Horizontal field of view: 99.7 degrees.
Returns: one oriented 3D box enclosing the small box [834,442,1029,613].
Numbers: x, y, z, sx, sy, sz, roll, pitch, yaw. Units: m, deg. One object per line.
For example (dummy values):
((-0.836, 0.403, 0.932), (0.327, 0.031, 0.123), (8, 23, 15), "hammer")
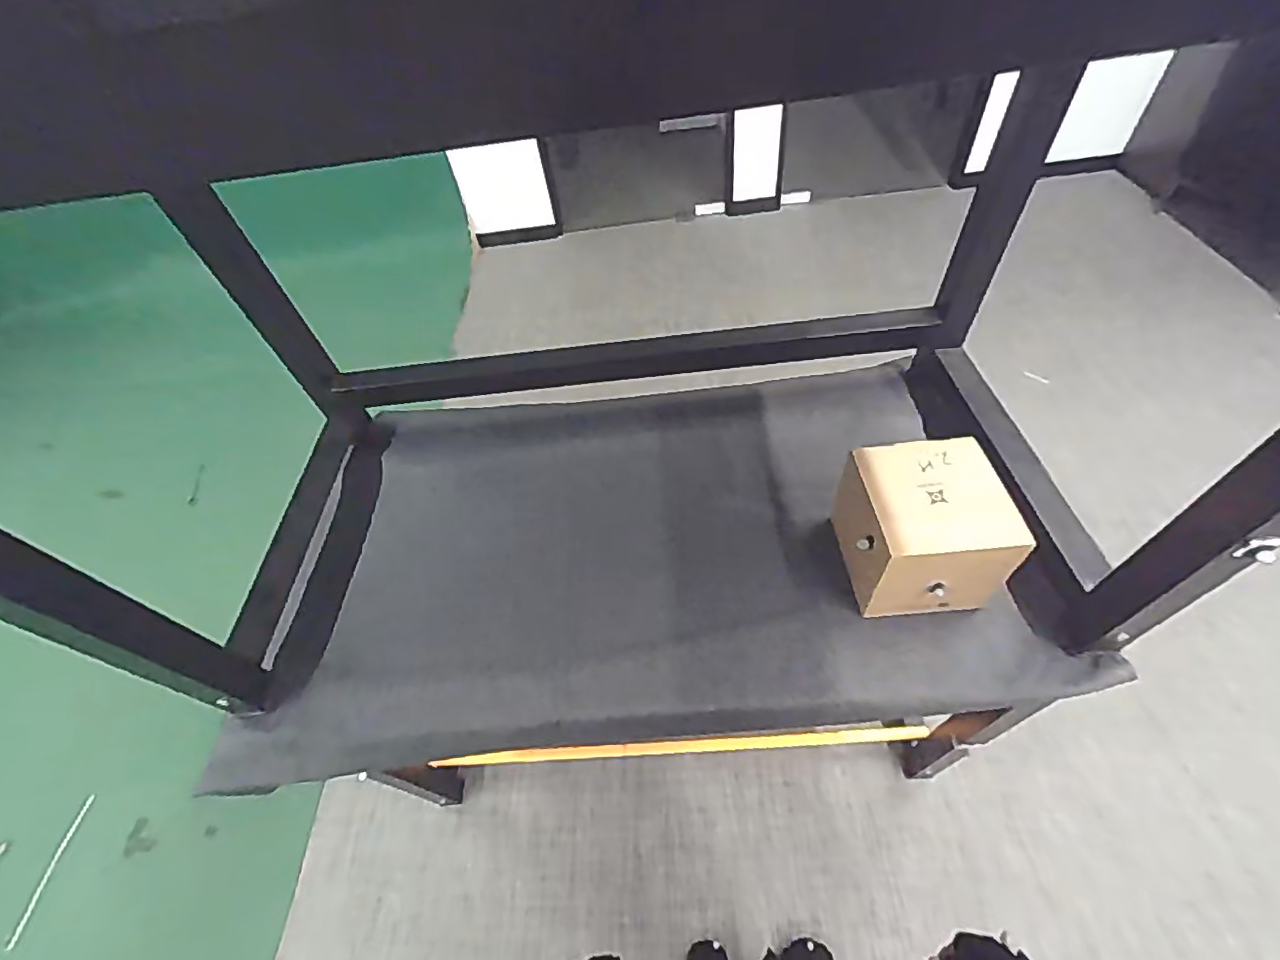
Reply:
((0.381, 0.073, 0.747), (0.168, 0.176, 0.179), (-5, 50, 4), "small box")
